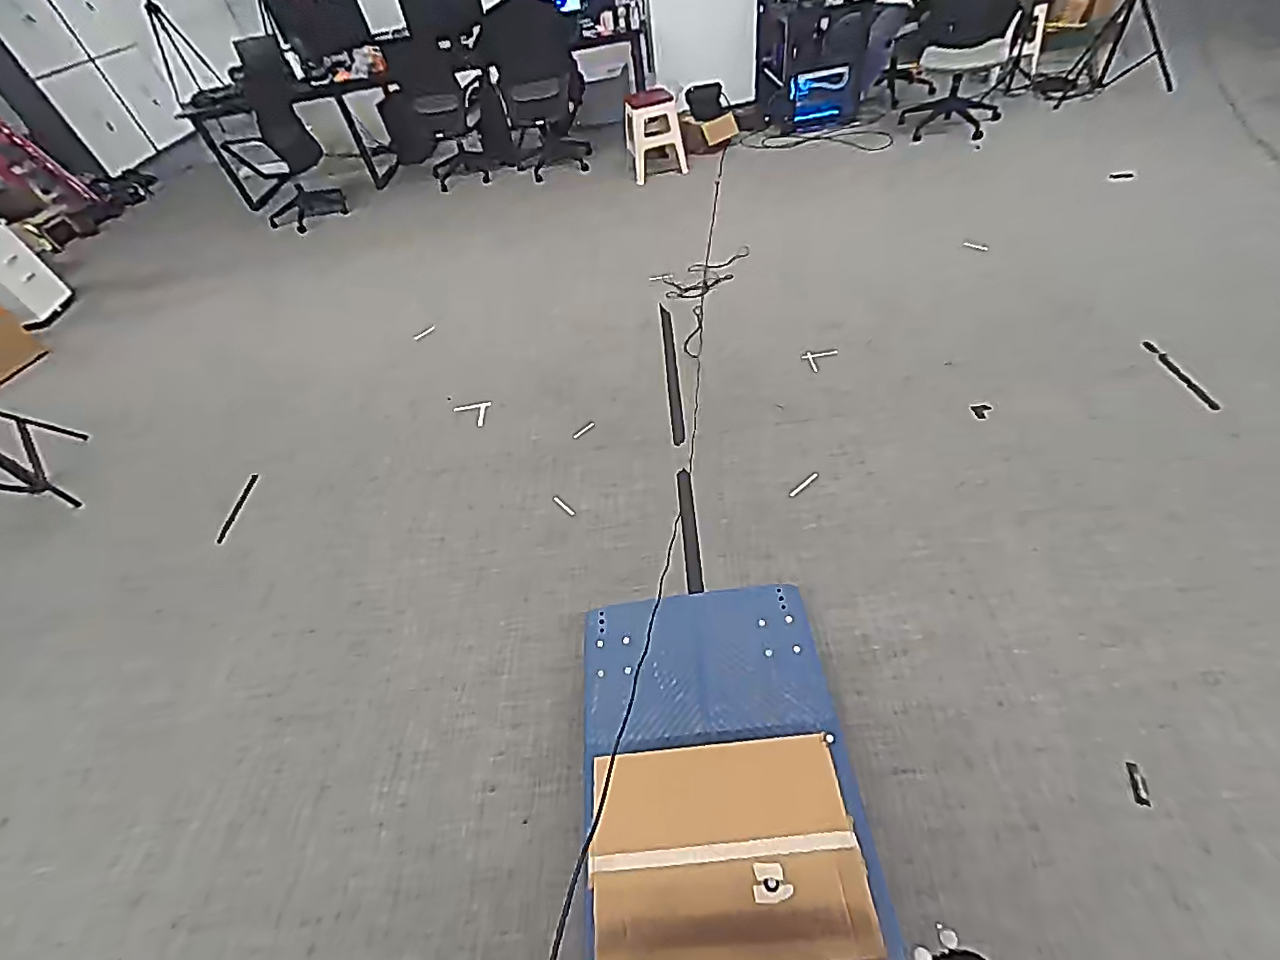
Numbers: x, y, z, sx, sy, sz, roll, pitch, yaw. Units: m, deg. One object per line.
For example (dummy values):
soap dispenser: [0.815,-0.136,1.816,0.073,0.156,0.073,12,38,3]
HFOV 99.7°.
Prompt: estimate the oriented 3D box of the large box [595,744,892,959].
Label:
large box: [0.148,0.682,0.916,0.408,0.320,0.320,-8,46,3]
